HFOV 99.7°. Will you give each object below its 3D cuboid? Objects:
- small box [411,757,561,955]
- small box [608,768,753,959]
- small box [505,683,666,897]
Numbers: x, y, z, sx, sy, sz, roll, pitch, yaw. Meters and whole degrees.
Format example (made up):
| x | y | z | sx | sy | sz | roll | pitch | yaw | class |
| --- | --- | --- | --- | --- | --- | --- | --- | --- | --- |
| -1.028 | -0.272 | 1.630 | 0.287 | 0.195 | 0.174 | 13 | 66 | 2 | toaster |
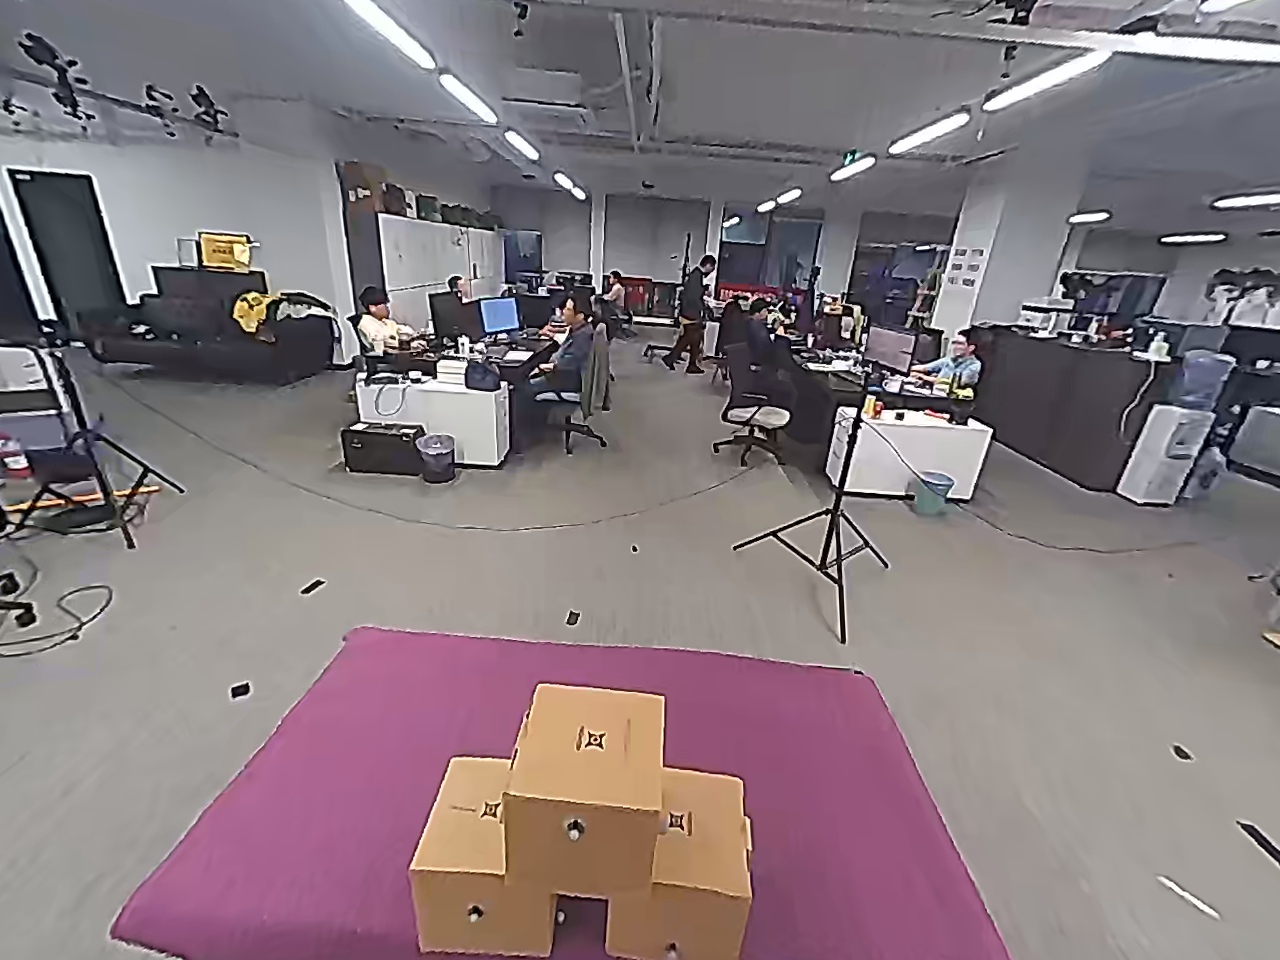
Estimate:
| x | y | z | sx | sy | sz | roll | pitch | yaw | class |
| --- | --- | --- | --- | --- | --- | --- | --- | --- | --- |
| -0.196 | 0.524 | 0.760 | 0.179 | 0.176 | 0.168 | 3 | 21 | 0 | small box |
| 0.054 | 0.542 | 0.763 | 0.179 | 0.176 | 0.168 | 5 | 21 | 5 | small box |
| -0.061 | 0.388 | 0.686 | 0.179 | 0.176 | 0.168 | 5 | 23 | 1 | small box |
